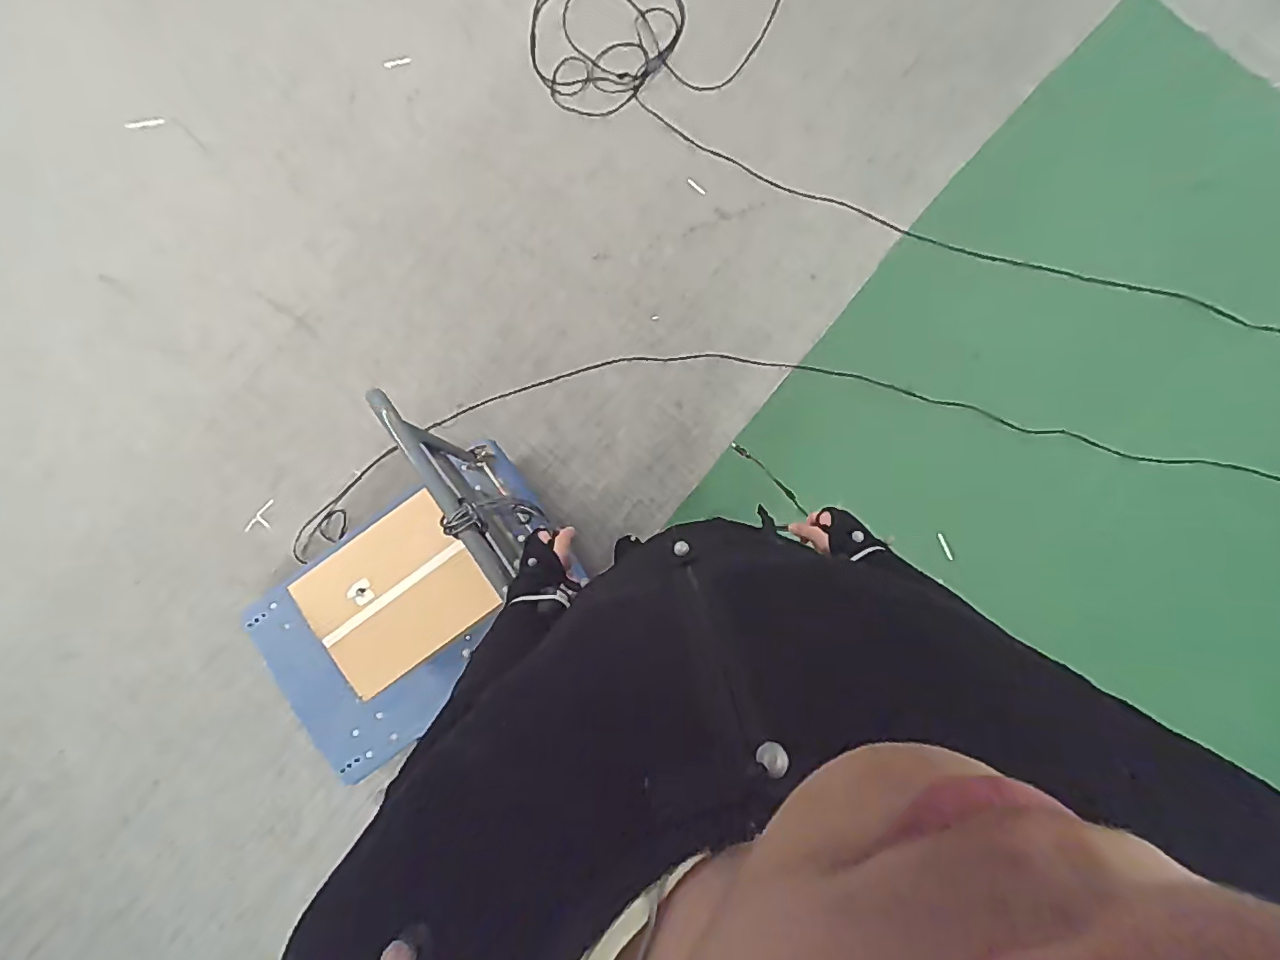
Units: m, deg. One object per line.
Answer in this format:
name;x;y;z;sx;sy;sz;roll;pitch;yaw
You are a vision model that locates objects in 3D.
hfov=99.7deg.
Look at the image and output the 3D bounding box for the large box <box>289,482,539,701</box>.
large box;-0.522;0.247;1.326;0.408;0.320;0.320;-36;85;1
